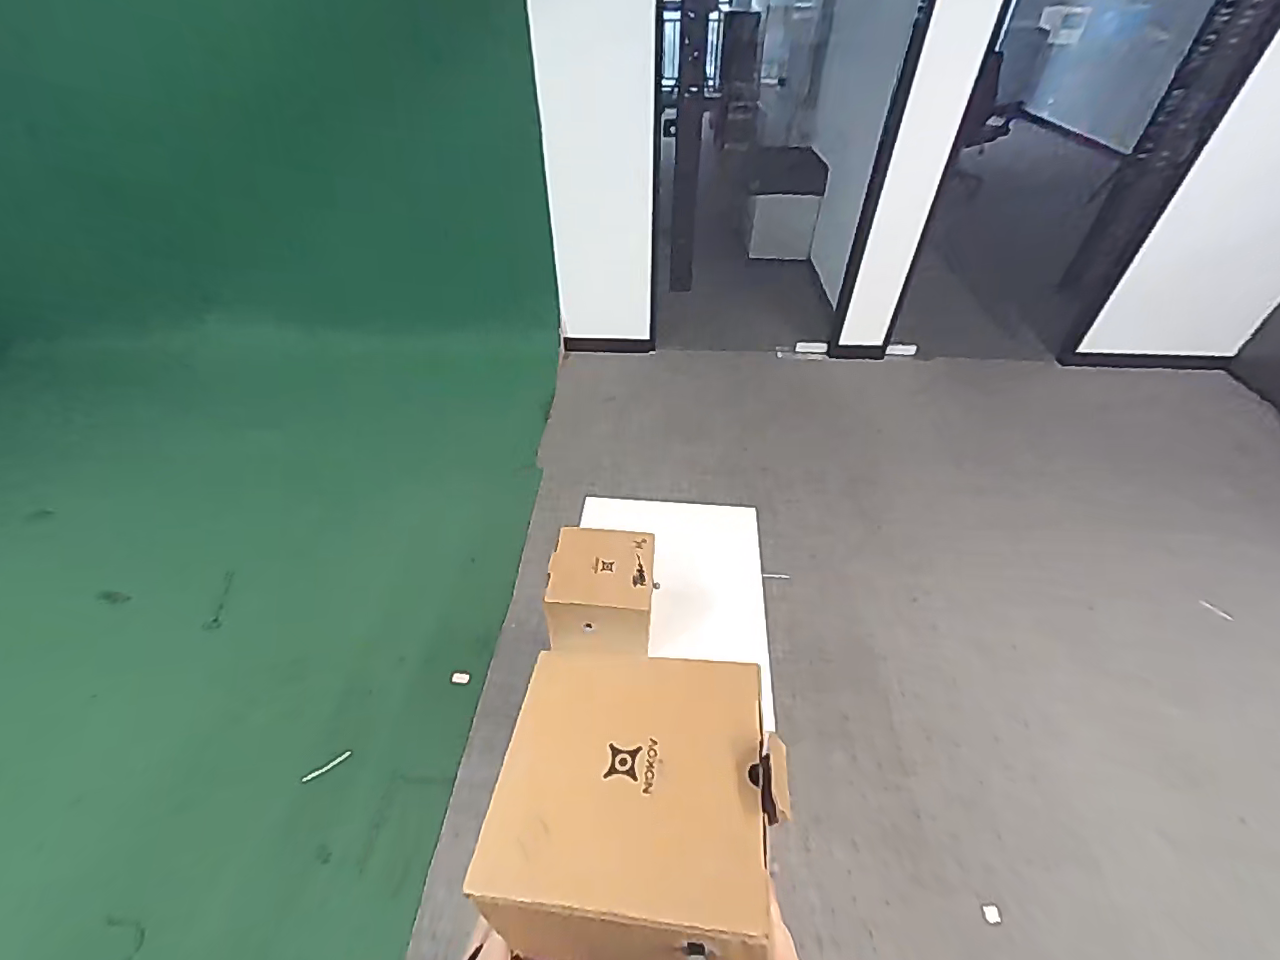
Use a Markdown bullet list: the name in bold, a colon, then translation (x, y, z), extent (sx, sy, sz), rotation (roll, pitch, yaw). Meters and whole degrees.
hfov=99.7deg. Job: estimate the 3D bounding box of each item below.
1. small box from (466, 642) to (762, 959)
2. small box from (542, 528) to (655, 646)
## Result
- **small box**: translation (0.001, 0.246, 0.411), extent (0.179, 0.176, 0.168), rotation (0, 36, 9)
- **small box**: translation (-0.067, 0.208, 0.978), extent (0.179, 0.176, 0.168), rotation (4, 43, 3)
